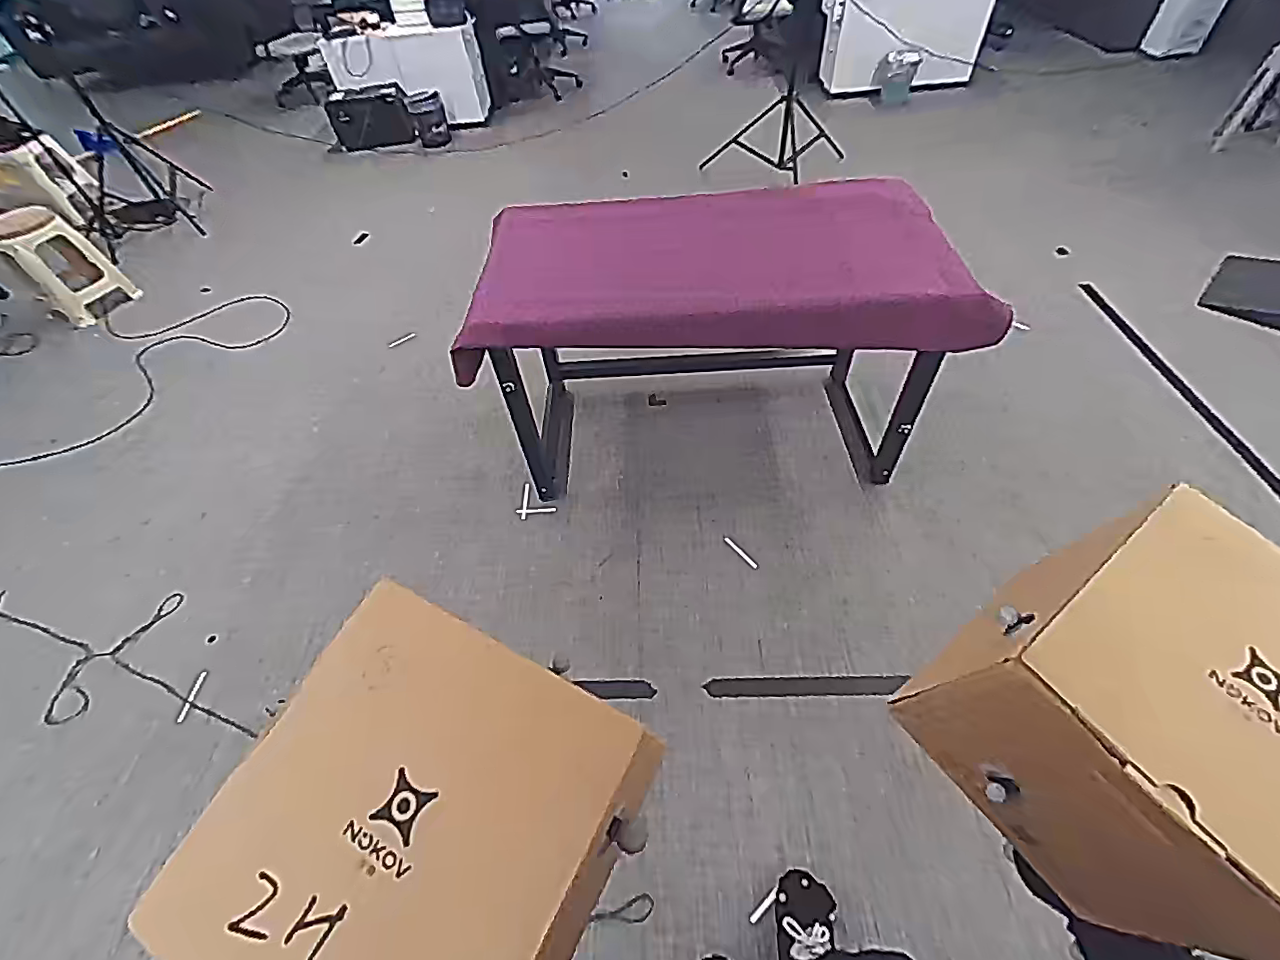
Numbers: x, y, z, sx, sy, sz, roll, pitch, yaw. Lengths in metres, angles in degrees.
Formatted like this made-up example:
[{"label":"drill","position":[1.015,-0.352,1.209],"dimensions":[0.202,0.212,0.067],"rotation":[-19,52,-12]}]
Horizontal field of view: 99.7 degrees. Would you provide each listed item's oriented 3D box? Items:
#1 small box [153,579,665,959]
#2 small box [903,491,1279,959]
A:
[{"label":"small box","position":[-0.093,0.189,0.311],"dimensions":[0.168,0.176,0.179],"rotation":[23,67,18]},{"label":"small box","position":[0.309,0.144,0.343],"dimensions":[0.179,0.176,0.168],"rotation":[-34,66,-18]}]
